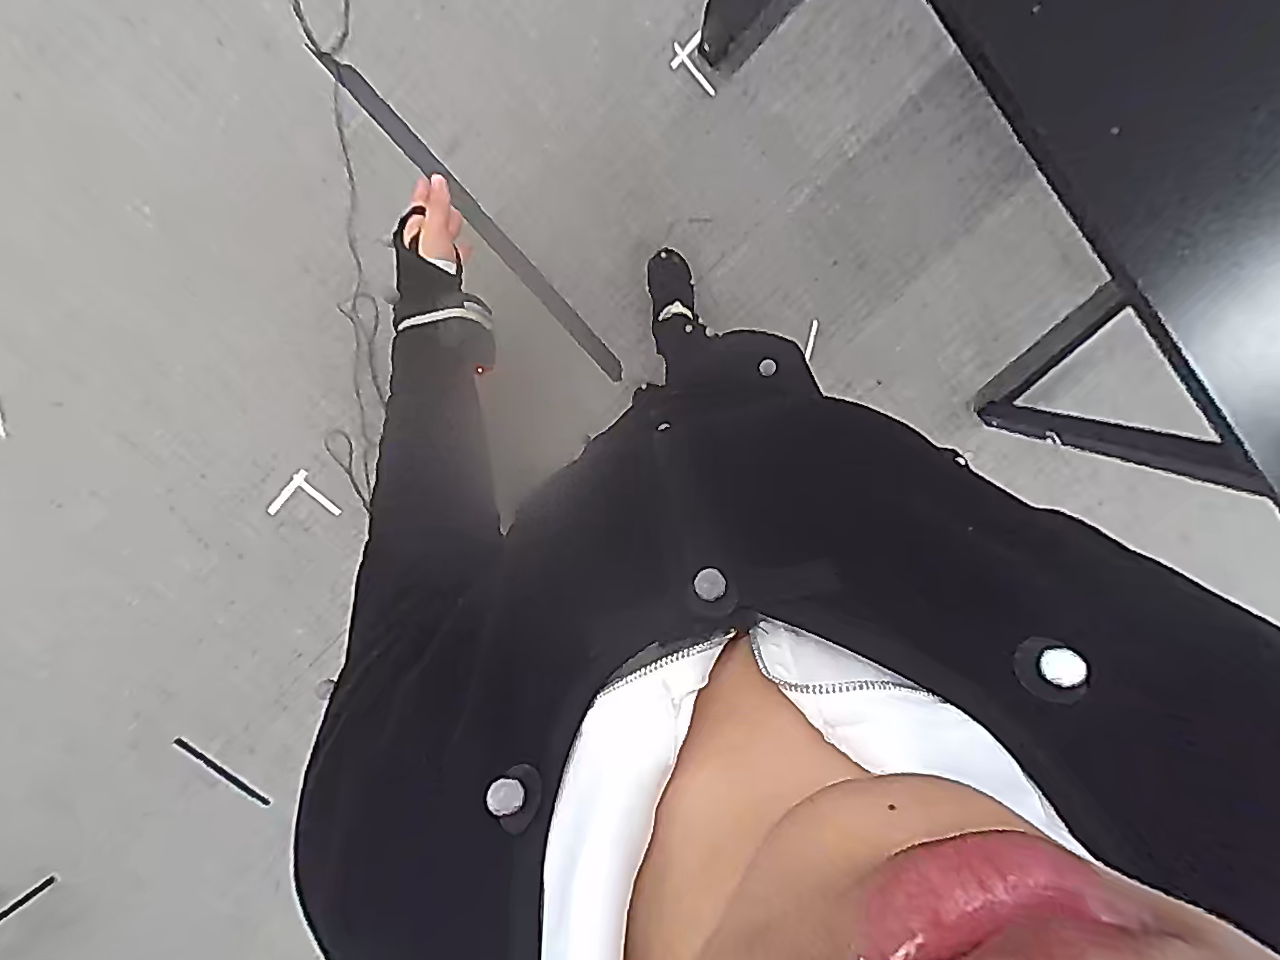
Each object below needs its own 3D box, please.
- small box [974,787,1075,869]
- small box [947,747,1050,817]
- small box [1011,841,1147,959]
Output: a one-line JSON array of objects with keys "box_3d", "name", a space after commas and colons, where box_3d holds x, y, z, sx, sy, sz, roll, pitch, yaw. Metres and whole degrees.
[{"box_3d": [1.103, 1.020, 1.531, 0.168, 0.176, 0.179, -42, 100, 10], "name": "small box"}, {"box_3d": [1.109, 0.980, 1.690, 0.179, 0.176, 0.168, -42, 100, 10], "name": "small box"}, {"box_3d": [1.102, 1.064, 1.374, 0.168, 0.176, 0.179, -42, 101, 11], "name": "small box"}]
